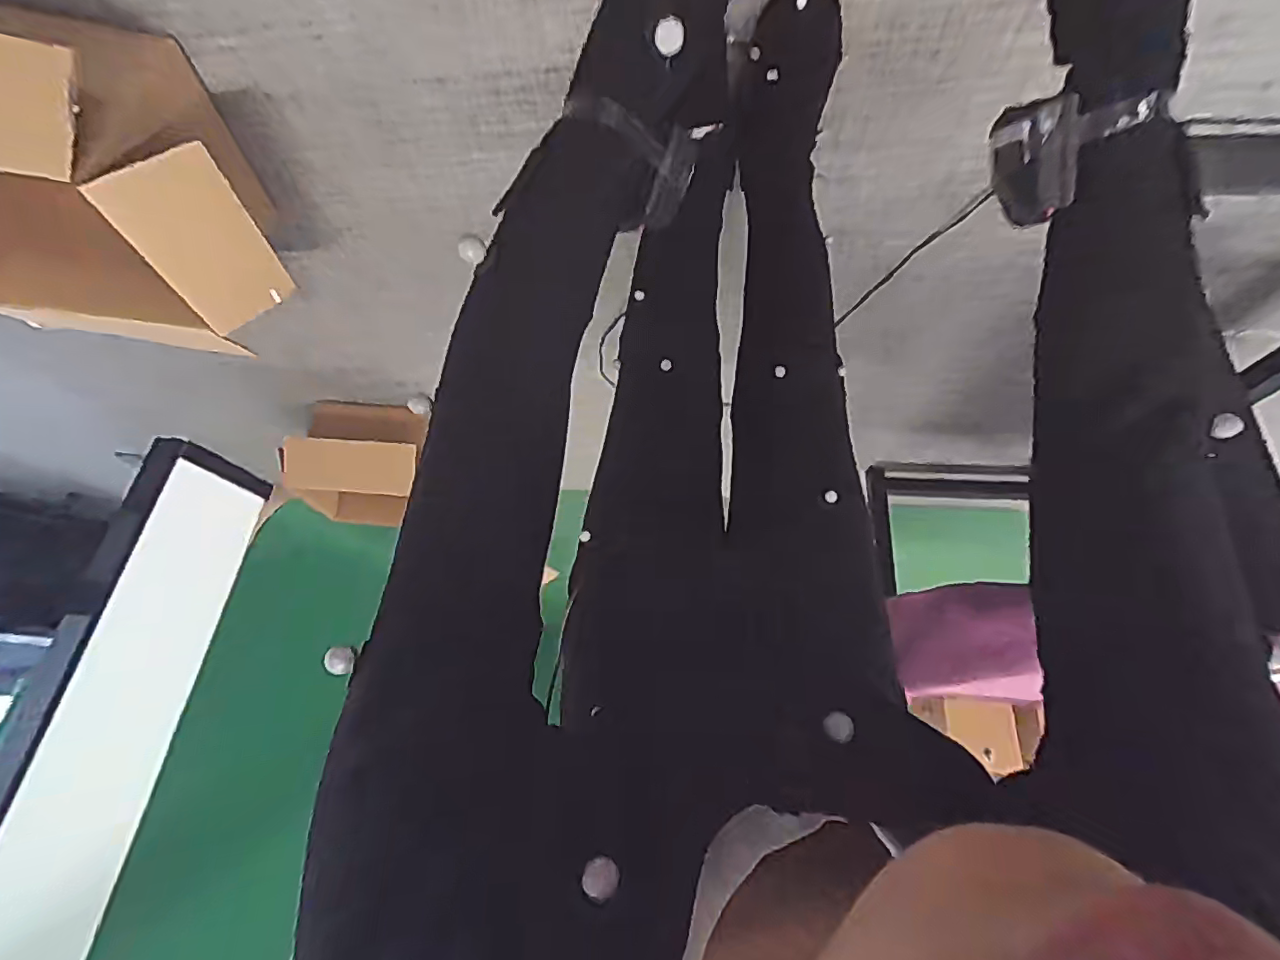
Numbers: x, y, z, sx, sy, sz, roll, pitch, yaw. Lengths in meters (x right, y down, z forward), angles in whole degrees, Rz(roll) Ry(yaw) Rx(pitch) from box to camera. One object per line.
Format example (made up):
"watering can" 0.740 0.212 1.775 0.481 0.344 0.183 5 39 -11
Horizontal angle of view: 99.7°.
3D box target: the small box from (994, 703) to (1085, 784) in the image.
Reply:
"small box" 1.042 0.662 1.367 0.179 0.176 0.168 5 156 1
